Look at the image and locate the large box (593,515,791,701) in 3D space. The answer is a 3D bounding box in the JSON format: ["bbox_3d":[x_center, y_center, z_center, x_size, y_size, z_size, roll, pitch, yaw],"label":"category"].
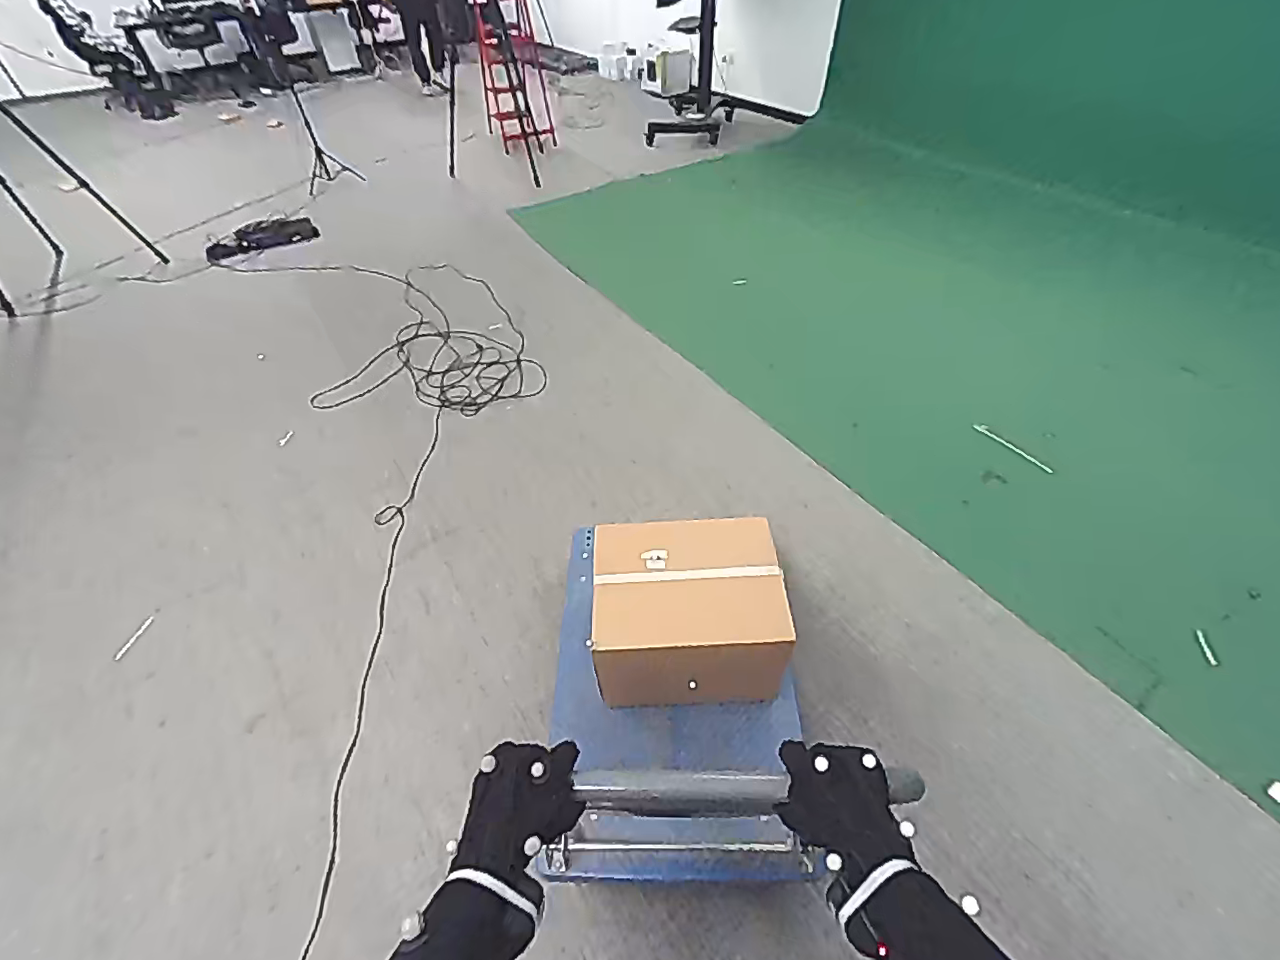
[{"bbox_3d":[0.107,0.310,1.285,0.408,0.320,0.320,-4,47,1],"label":"large box"}]
